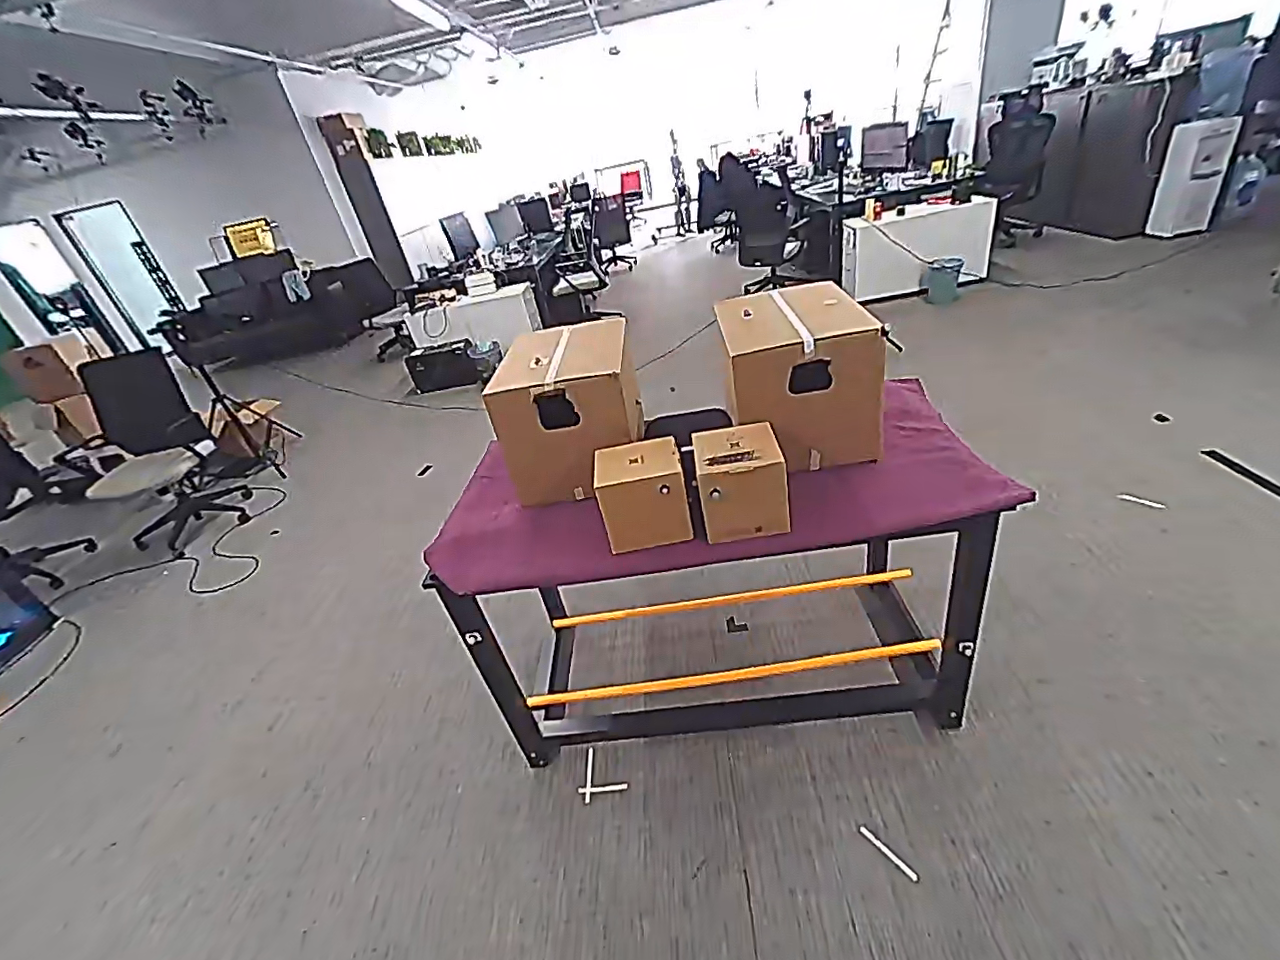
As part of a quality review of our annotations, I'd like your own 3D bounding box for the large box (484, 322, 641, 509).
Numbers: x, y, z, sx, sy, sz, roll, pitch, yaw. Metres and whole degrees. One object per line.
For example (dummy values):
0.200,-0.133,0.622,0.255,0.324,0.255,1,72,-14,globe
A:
-0.173,-0.180,1.418,0.320,0.320,0.408,-9,34,6,large box
